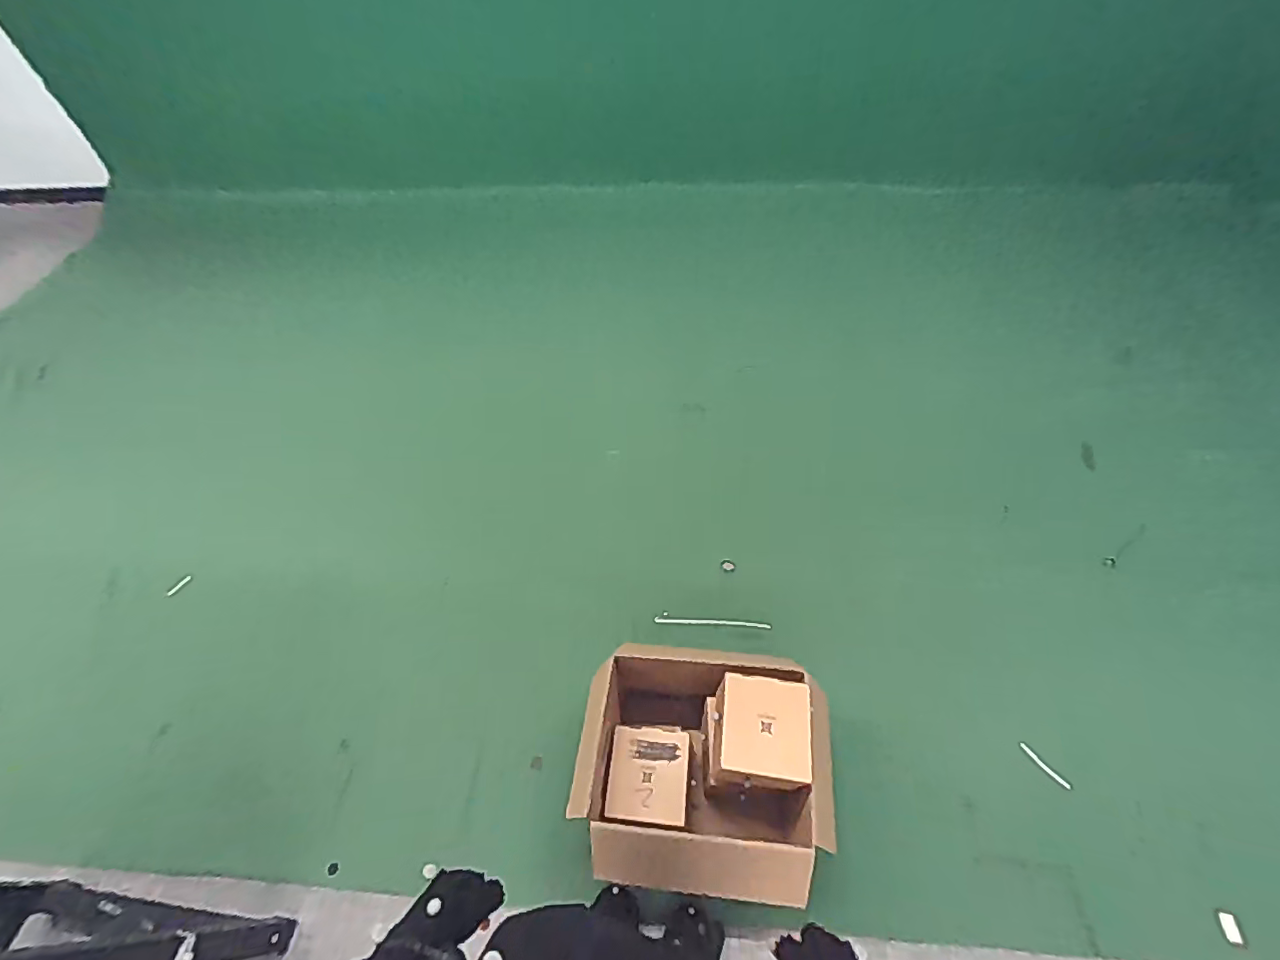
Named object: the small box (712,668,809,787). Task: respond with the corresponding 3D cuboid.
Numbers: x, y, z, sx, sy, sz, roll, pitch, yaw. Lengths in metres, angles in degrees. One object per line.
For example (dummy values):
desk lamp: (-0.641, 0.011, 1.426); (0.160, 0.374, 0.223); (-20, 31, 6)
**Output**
small box: (0.237, 0.498, 1.079); (0.168, 0.176, 0.179); (7, 55, 6)
